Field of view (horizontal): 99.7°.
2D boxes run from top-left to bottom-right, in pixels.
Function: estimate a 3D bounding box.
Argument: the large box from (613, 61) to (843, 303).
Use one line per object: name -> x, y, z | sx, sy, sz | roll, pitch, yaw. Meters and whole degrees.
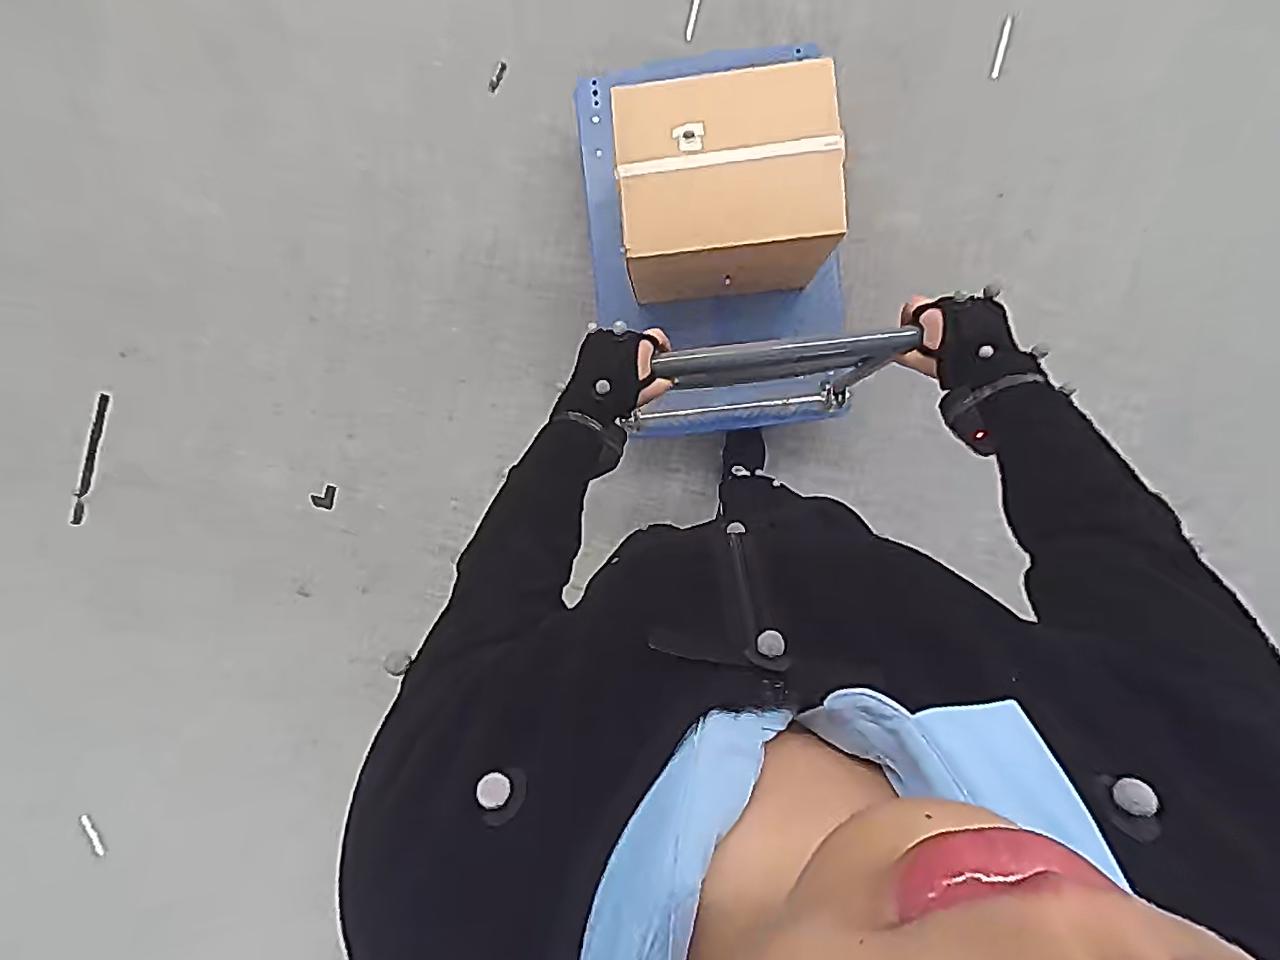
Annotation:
large box -> 0.174, -0.592, 1.146 | 0.408, 0.320, 0.320 | -5, 91, 5
